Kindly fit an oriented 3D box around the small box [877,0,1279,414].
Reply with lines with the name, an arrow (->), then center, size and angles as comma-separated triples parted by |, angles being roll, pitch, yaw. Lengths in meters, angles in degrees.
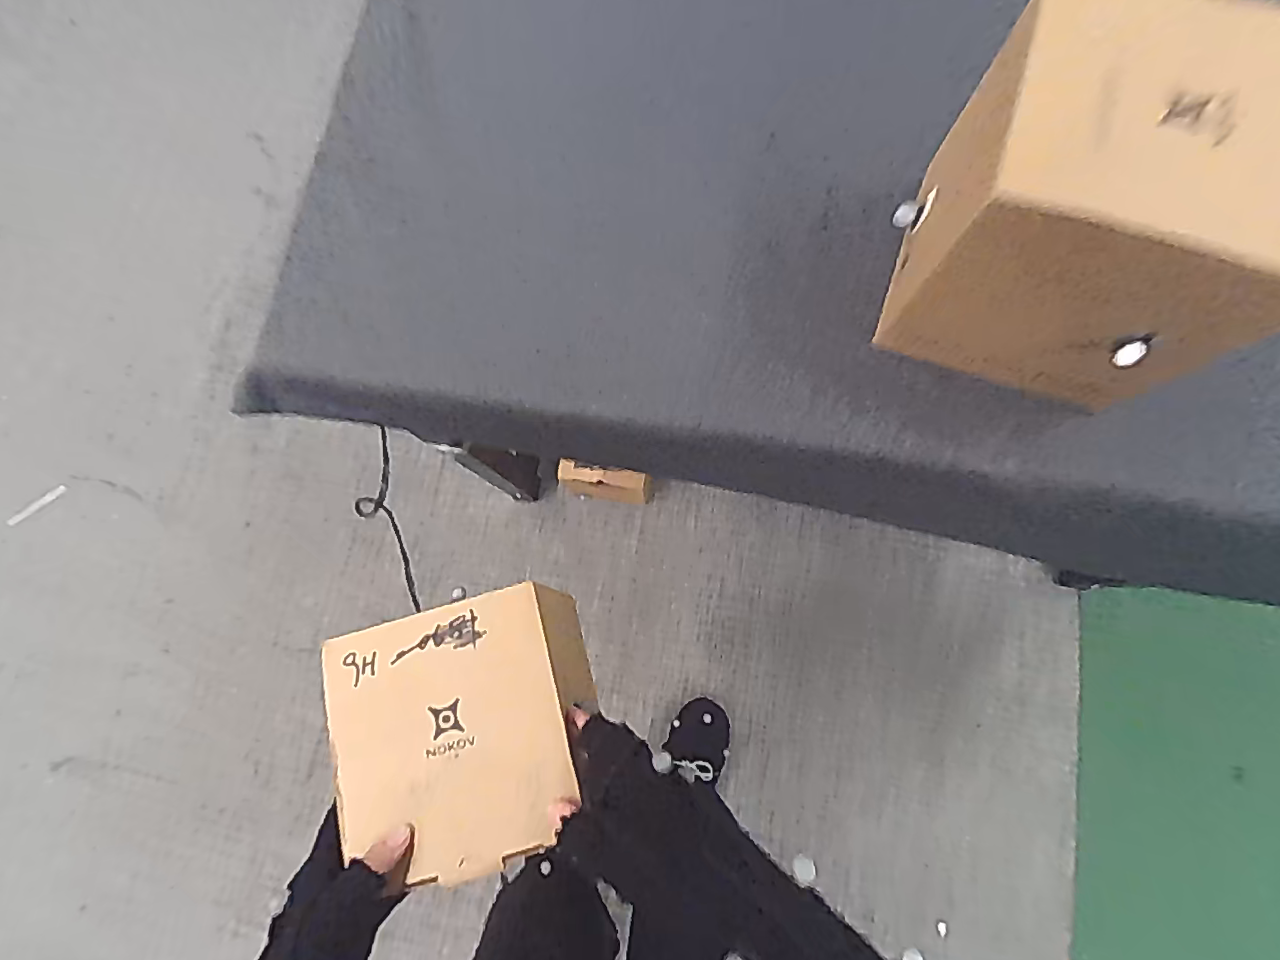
small box -> 0.293, -0.160, 0.363 | 0.179, 0.176, 0.168 | 19, 78, 7
